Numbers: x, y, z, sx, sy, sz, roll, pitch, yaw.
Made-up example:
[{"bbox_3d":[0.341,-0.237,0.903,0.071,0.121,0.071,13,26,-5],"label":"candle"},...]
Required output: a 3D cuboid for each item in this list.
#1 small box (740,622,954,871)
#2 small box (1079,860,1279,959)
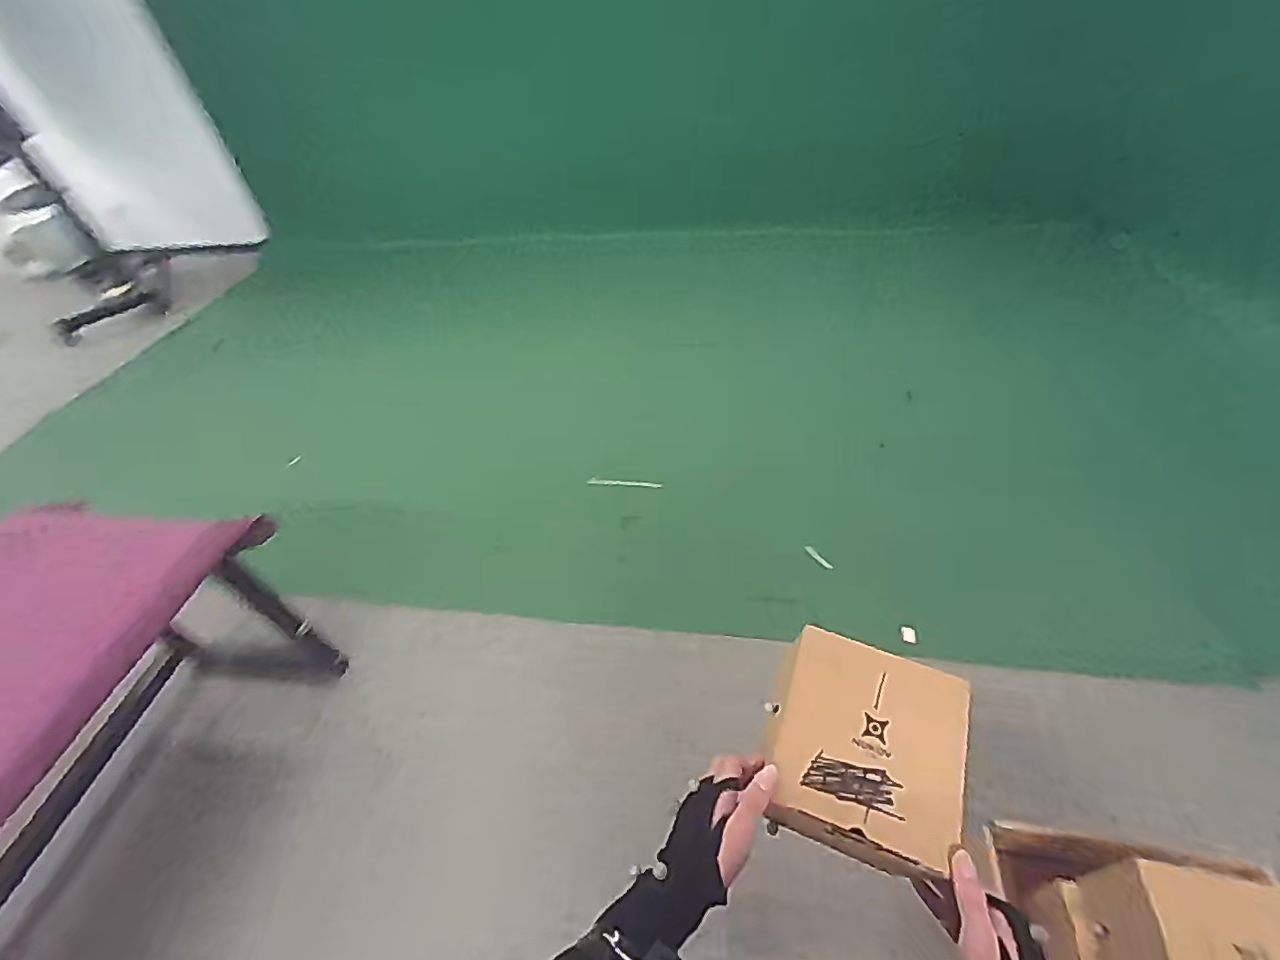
[{"bbox_3d":[0.211,0.286,0.581,0.168,0.176,0.179,17,57,13],"label":"small box"},{"bbox_3d":[0.707,0.607,0.674,0.179,0.176,0.168,6,46,13],"label":"small box"}]
